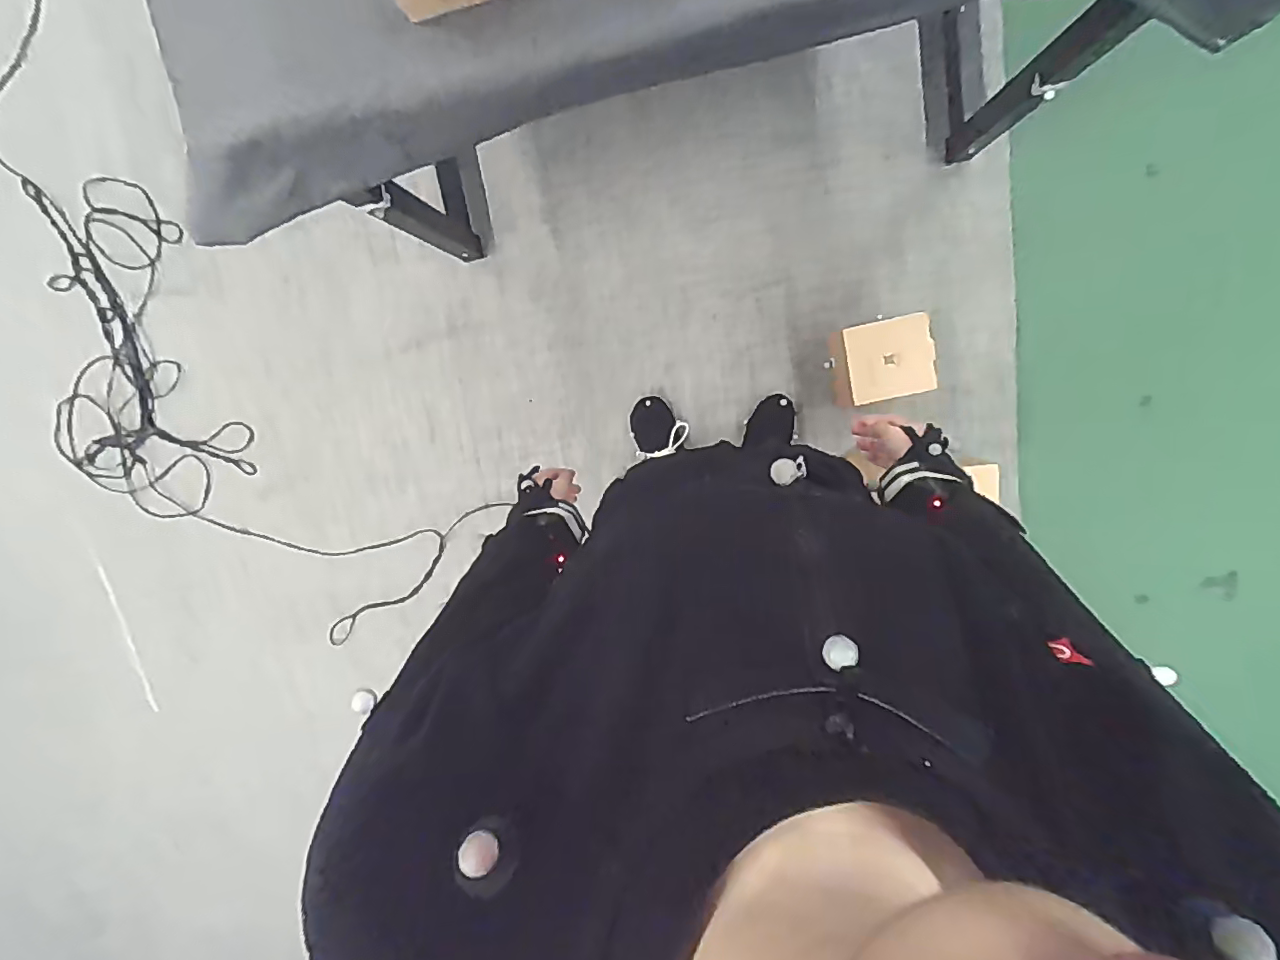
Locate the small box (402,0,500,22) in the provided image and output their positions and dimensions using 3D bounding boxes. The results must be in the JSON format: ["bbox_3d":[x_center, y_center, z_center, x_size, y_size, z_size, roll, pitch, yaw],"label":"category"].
[{"bbox_3d":[-0.183,-0.556,0.462,0.168,0.176,0.179,-11,100,7],"label":"small box"}]

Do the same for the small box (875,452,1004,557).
[{"bbox_3d":[0.592,0.042,1.084,0.179,0.176,0.168,-6,100,6],"label":"small box"}]

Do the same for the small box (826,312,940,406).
[{"bbox_3d":[0.531,-0.265,1.198,0.179,0.176,0.168,-11,99,8],"label":"small box"}]

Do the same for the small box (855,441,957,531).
[{"bbox_3d":[0.605,0.009,1.243,0.179,0.176,0.168,-7,101,8],"label":"small box"}]
